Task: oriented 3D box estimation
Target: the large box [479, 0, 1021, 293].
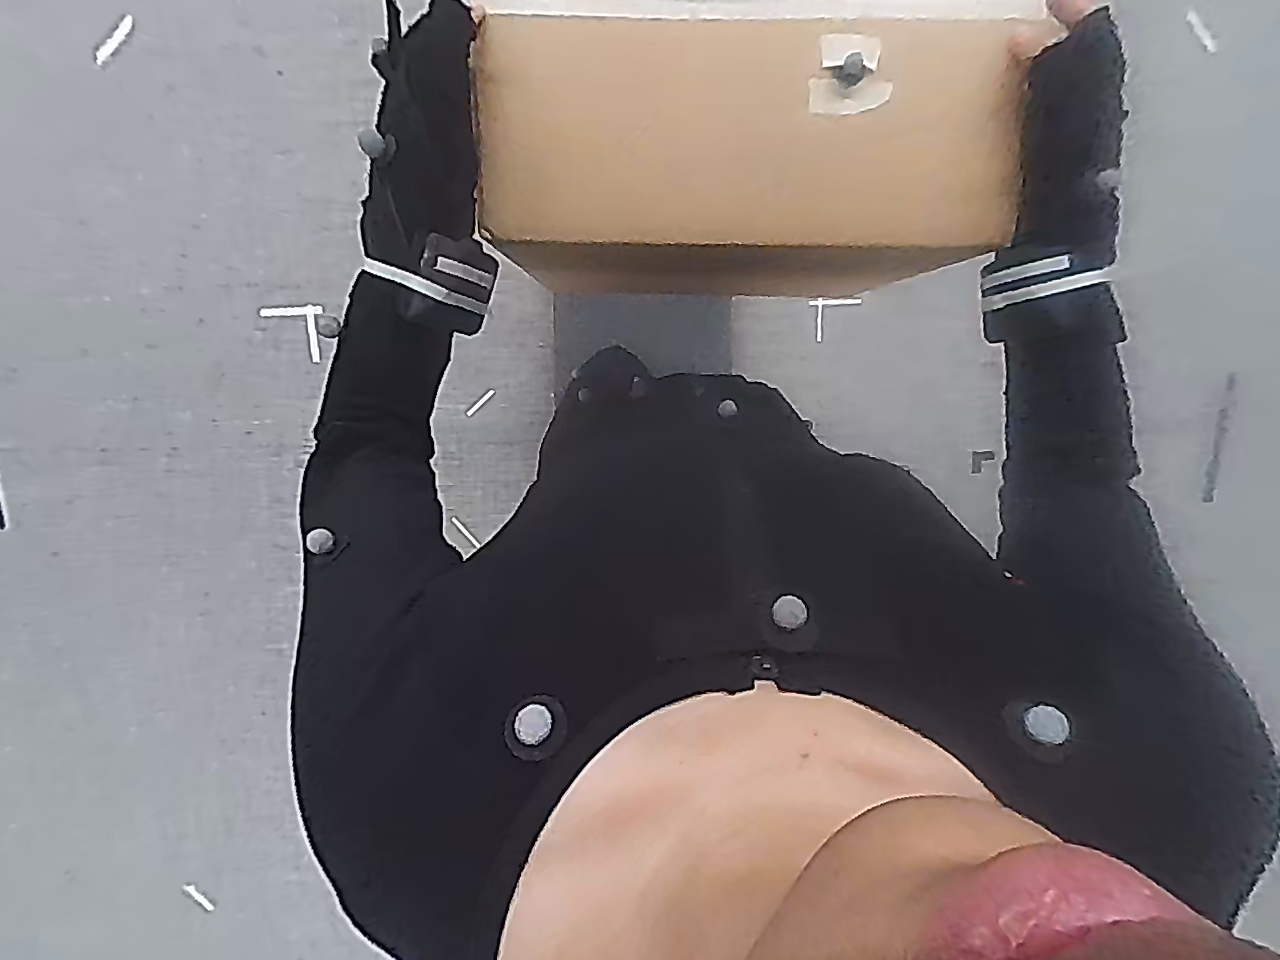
[{"bbox_3d":[0.077,-0.371,0.539,0.408,0.320,0.320,0,102,-1],"label":"large box"}]
